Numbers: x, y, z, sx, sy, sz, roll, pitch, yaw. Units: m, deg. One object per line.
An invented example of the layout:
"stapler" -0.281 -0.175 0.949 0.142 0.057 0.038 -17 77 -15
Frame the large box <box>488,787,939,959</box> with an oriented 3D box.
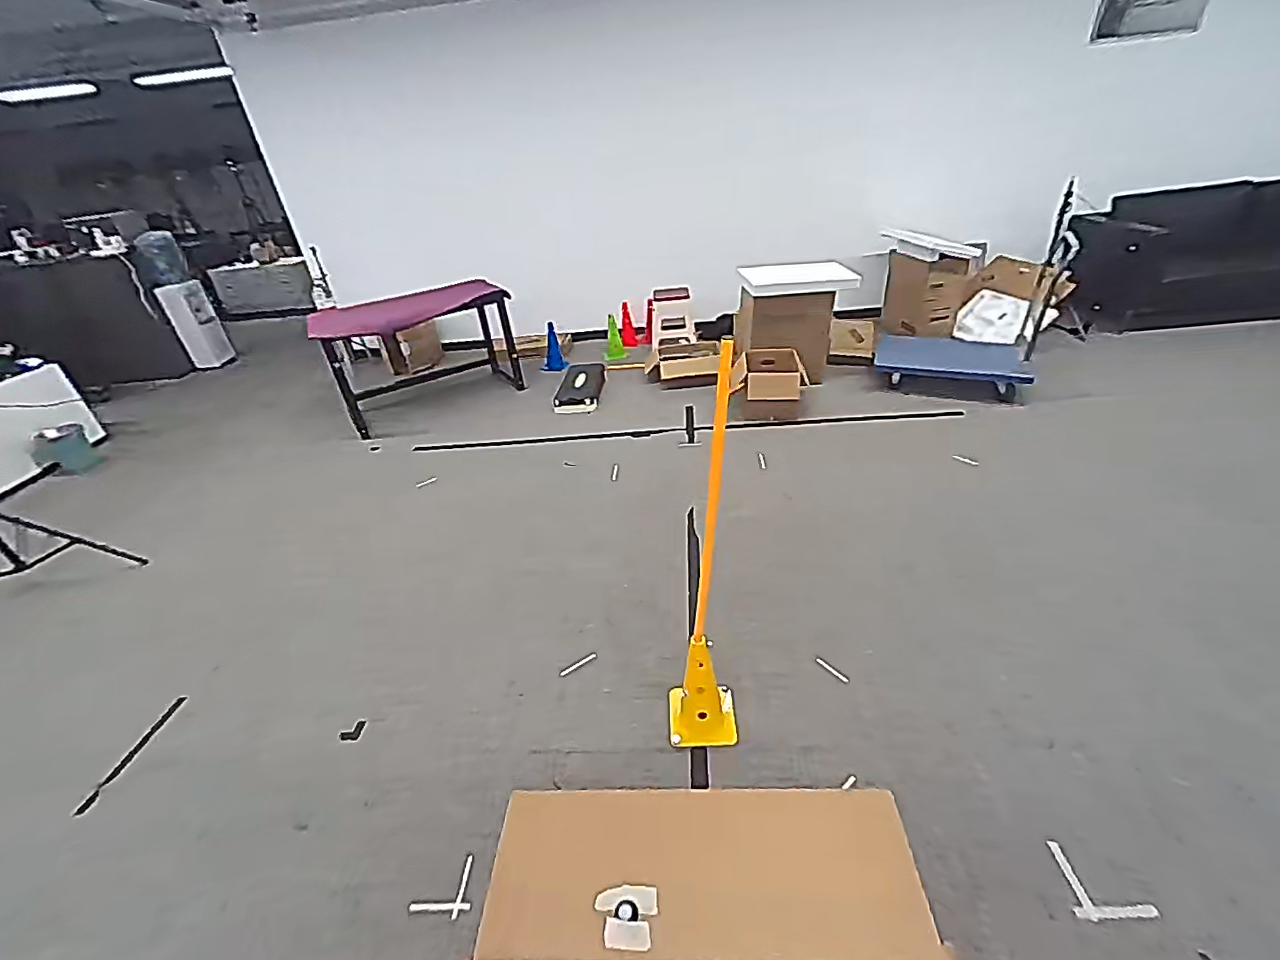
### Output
"large box" 0.076 0.551 0.547 0.408 0.320 0.320 -5 34 5
